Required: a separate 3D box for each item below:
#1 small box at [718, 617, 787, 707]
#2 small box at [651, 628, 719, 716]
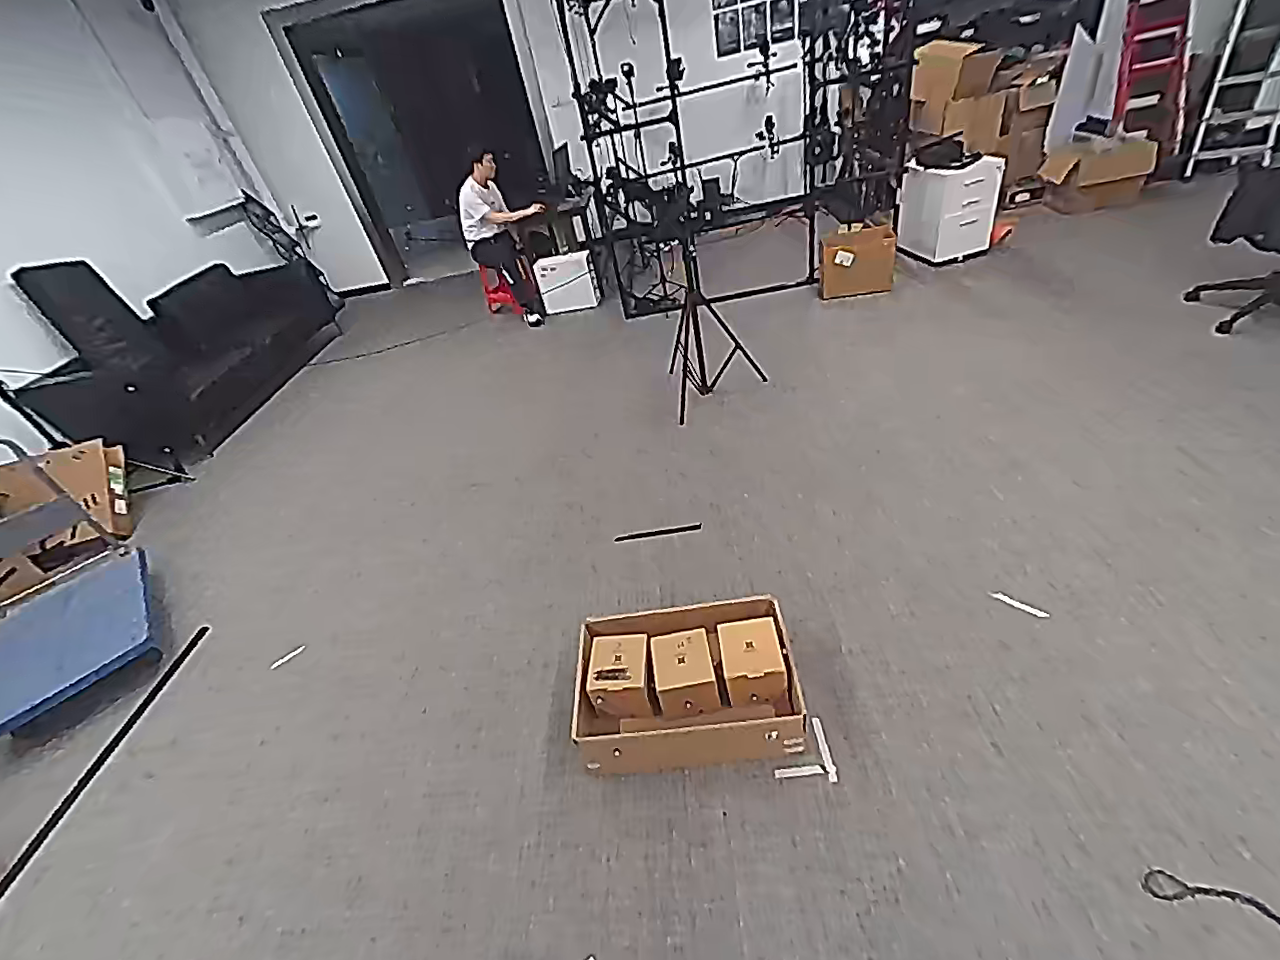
[{"bbox_3d":[0.324,0.526,1.562,0.168,0.176,0.179,-11,38,7],"label":"small box"},{"bbox_3d":[0.132,0.565,1.574,0.168,0.176,0.179,-11,37,2],"label":"small box"}]
